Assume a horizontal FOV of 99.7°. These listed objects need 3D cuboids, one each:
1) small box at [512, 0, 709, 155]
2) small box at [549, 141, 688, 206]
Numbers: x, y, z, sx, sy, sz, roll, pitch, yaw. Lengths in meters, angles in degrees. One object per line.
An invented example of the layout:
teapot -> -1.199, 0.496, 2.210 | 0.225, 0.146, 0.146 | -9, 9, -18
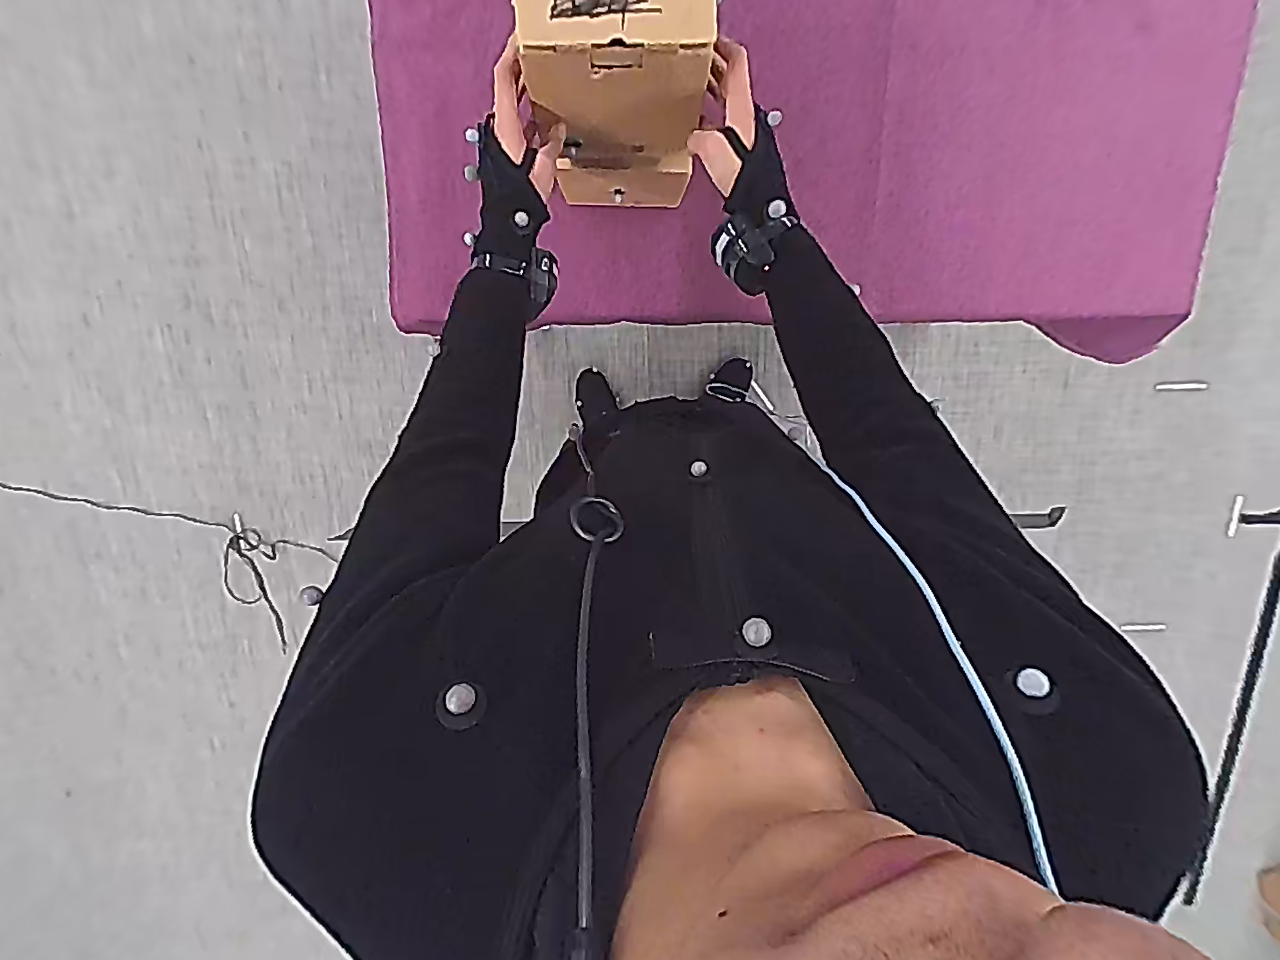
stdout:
small box -> -0.026, -0.442, 0.522 | 0.168, 0.176, 0.179 | -1, 93, -2
small box -> -0.024, -0.466, 0.697 | 0.168, 0.176, 0.179 | 1, 104, -3
